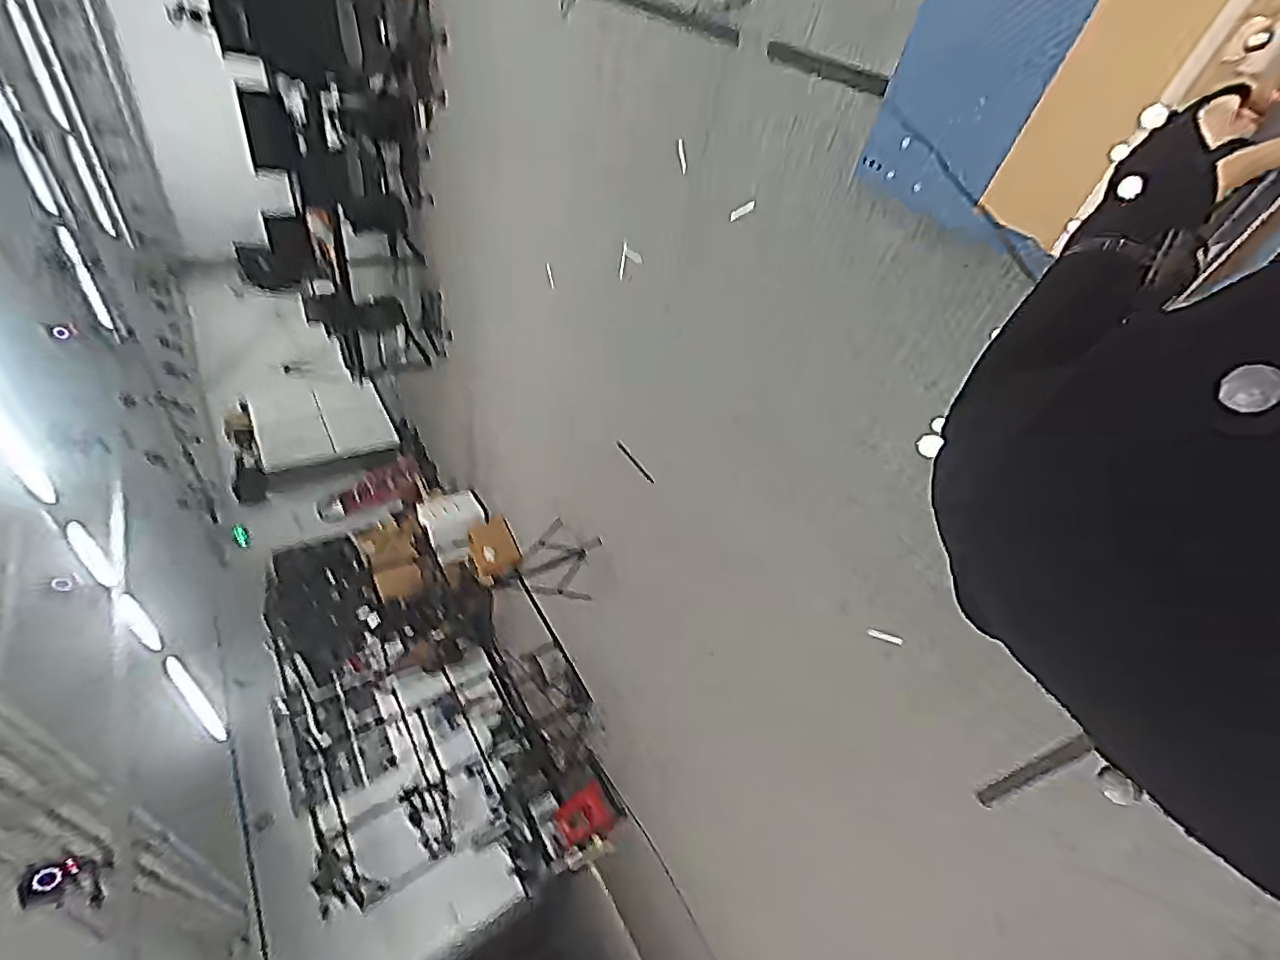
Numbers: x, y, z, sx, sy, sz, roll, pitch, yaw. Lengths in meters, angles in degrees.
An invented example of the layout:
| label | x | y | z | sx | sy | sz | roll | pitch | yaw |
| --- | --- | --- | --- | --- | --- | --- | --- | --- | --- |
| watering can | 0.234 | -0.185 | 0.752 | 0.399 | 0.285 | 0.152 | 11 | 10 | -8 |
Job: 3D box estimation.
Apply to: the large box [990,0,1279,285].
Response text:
| label | x | y | z | sx | sy | sz | roll | pitch | yaw |
| --- | --- | --- | --- | --- | --- | --- | --- | --- | --- |
| large box | 0.829 | -0.541 | 0.777 | 0.320 | 0.320 | 0.408 | 51 | 142 | 31 |
